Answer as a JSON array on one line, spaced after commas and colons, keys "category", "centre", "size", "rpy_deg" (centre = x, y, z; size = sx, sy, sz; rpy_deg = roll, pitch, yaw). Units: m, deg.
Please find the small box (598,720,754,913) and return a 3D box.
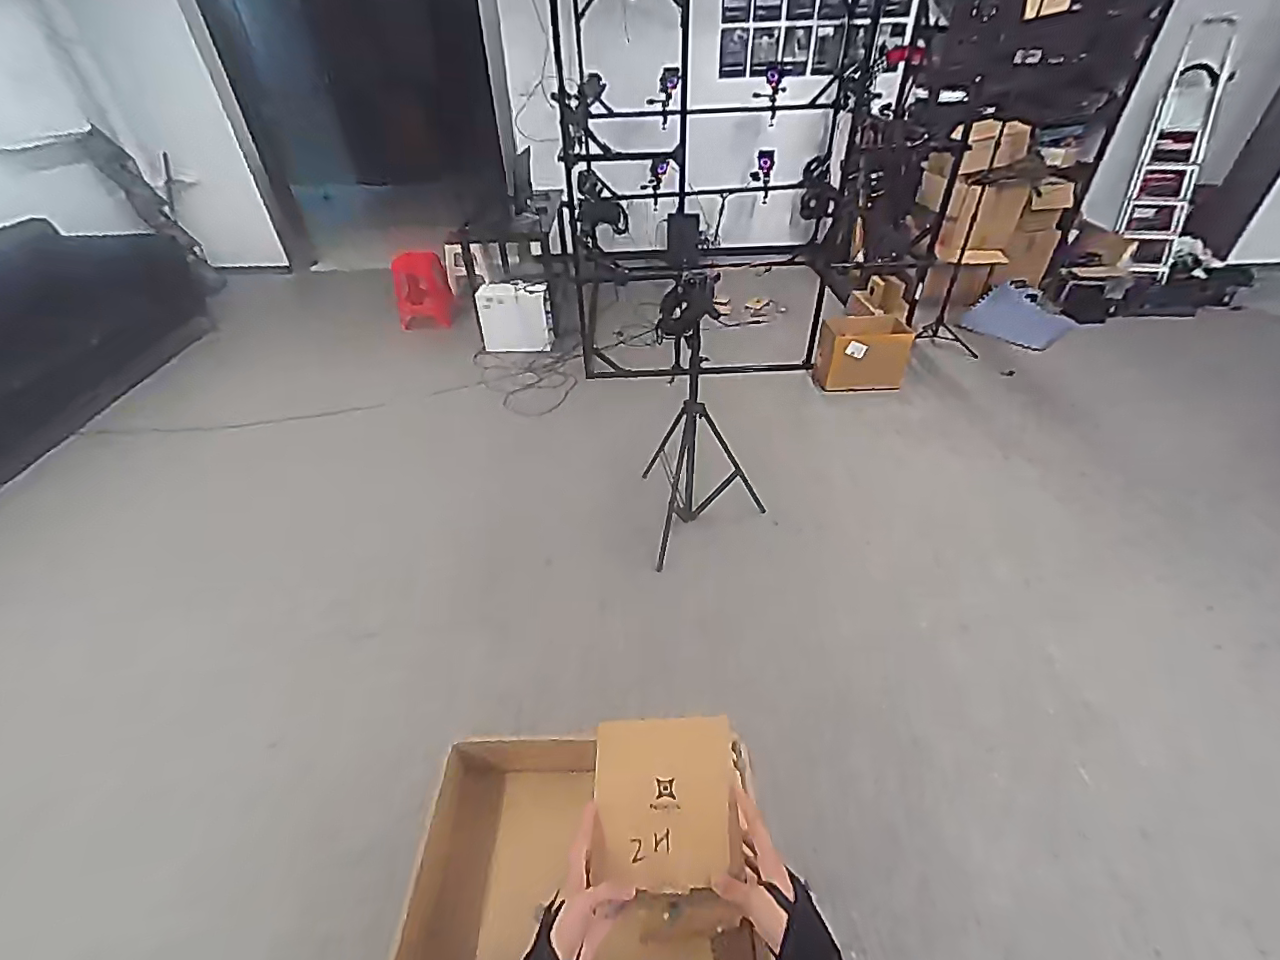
[{"category": "small box", "centre": [0.045, 0.420, 0.674], "size": [0.168, 0.176, 0.179], "rpy_deg": [-5, 47, 5]}]
